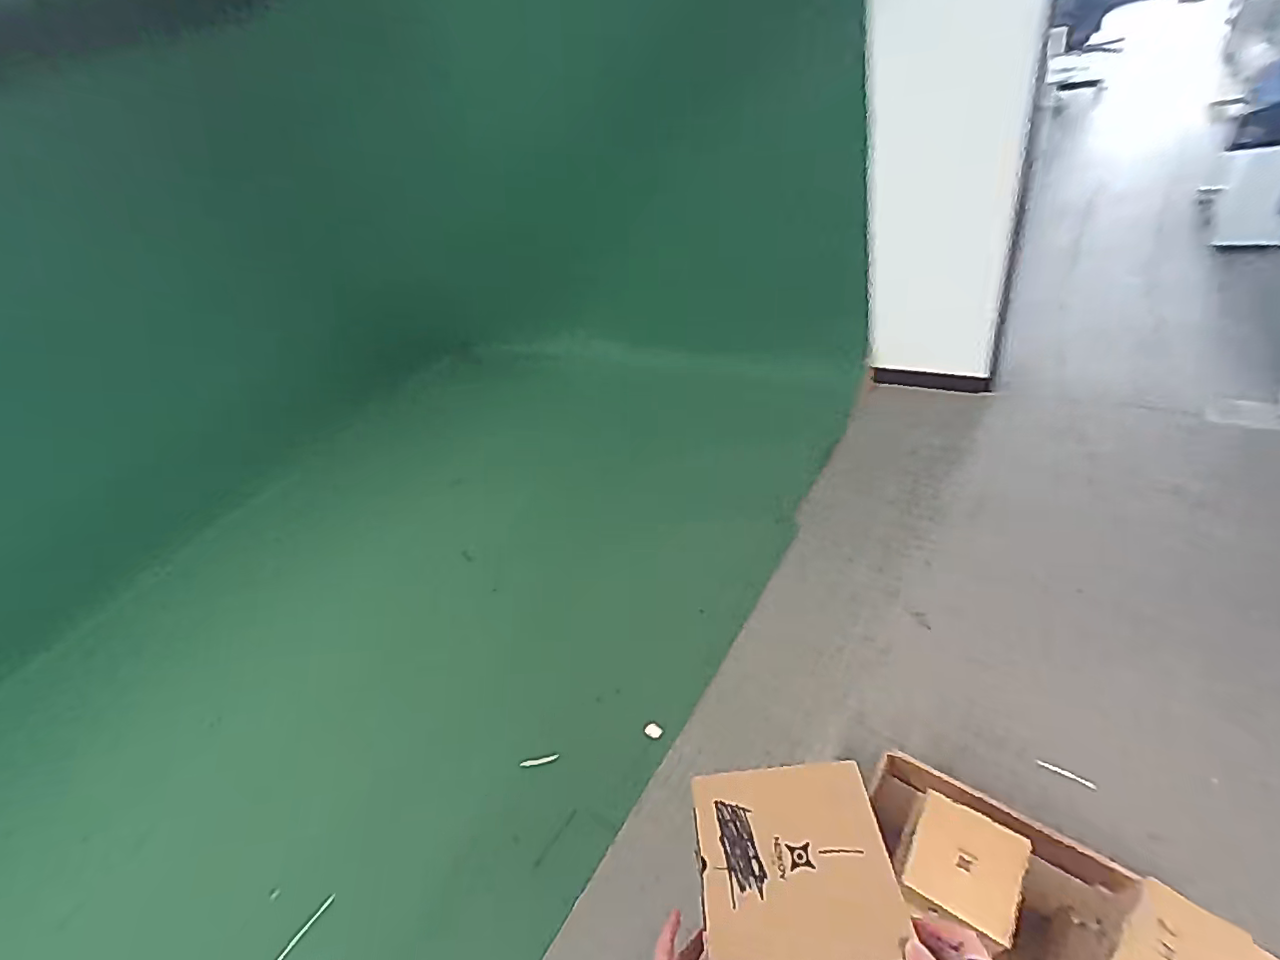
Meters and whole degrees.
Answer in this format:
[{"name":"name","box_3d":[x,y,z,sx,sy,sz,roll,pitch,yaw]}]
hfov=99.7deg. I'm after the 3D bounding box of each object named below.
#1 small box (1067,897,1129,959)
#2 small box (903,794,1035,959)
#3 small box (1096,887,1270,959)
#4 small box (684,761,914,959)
[{"name":"small box","box_3d":[0.782,0.795,0.830,0.179,0.176,0.168,21,57,39]},{"name":"small box","box_3d":[0.595,0.729,0.992,0.168,0.176,0.179,17,54,34]},{"name":"small box","box_3d":[0.733,0.691,0.710,0.168,0.176,0.179,-41,43,-20]},{"name":"small box","box_3d":[0.147,0.414,0.542,0.179,0.176,0.168,-9,33,4]}]
